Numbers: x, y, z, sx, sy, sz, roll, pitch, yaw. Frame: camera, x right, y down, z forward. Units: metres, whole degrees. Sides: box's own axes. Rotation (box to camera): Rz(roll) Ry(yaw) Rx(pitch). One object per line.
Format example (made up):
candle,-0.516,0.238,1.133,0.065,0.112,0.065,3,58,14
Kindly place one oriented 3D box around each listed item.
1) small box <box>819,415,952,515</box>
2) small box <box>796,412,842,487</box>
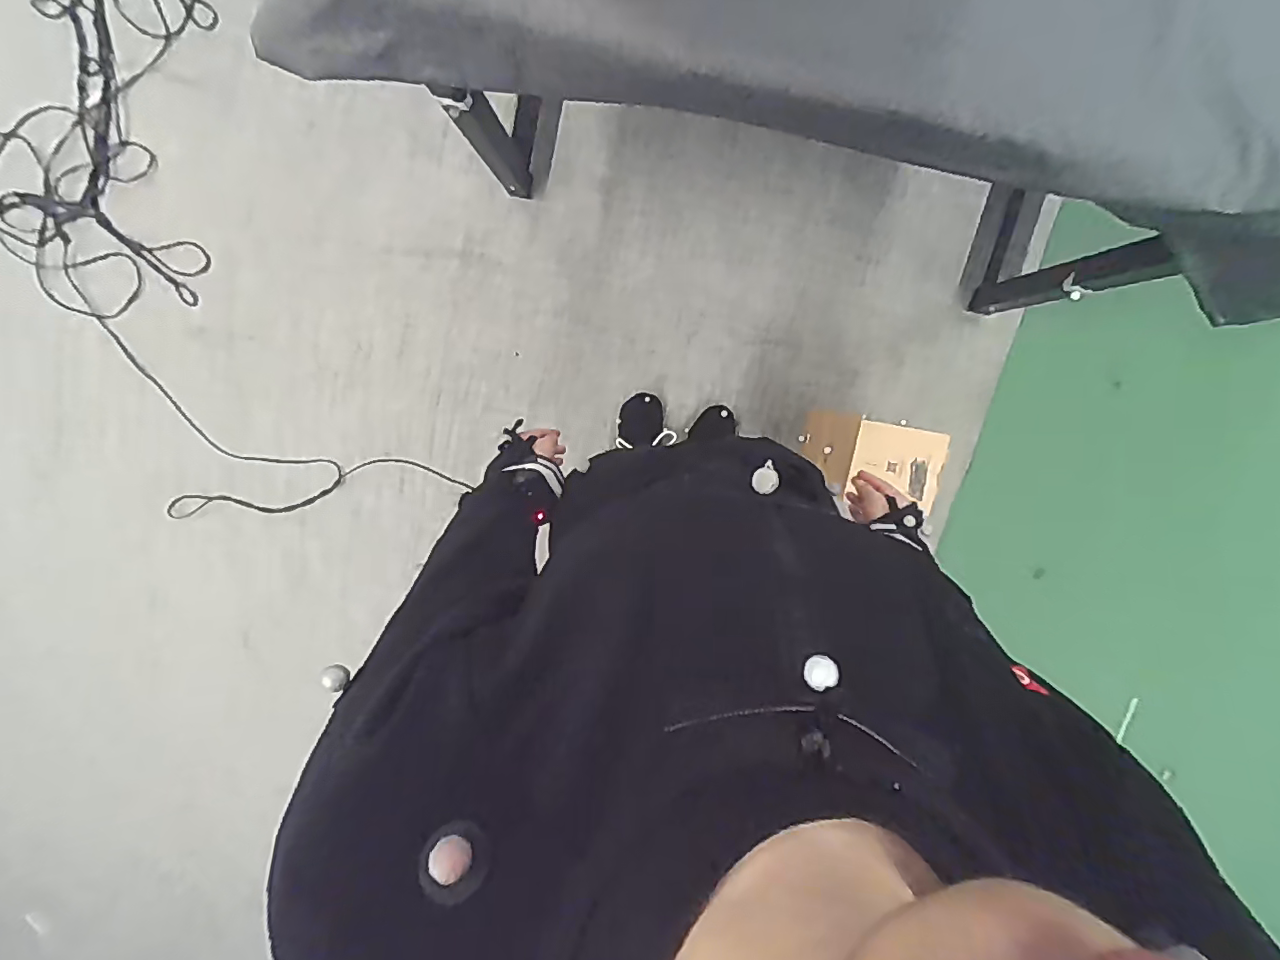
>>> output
small box,0.492,-0.039,1.108,0.179,0.176,0.168,10,99,0
small box,0.487,-0.066,1.270,0.179,0.176,0.168,10,99,0
